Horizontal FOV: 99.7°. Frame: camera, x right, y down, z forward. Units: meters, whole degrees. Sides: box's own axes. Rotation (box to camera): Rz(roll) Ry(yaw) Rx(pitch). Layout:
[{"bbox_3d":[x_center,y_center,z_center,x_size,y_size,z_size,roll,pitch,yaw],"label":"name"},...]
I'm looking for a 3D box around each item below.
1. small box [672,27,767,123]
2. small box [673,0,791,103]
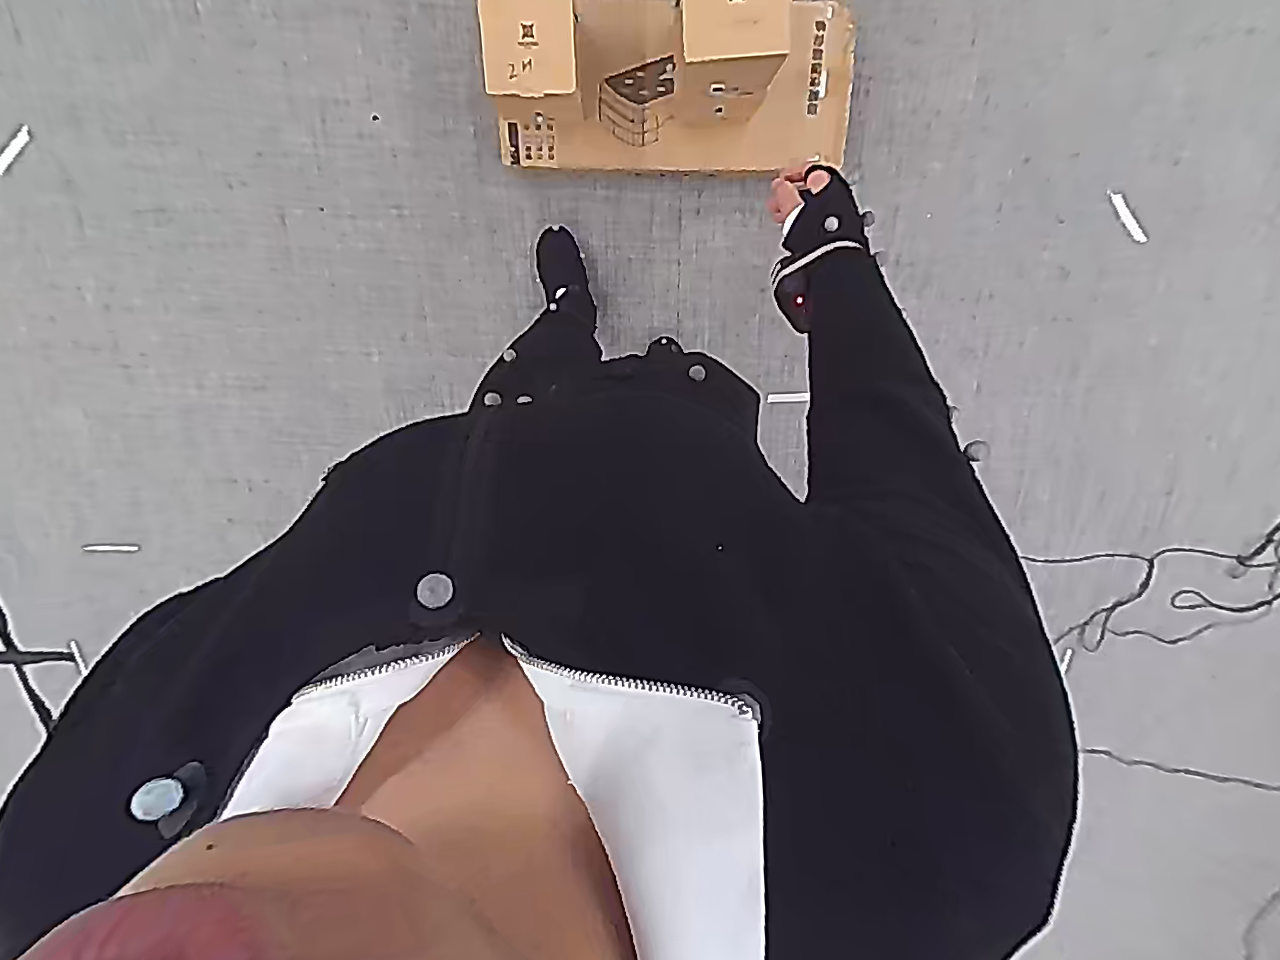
[{"bbox_3d":[0.150,-0.805,1.039,0.168,0.176,0.179,-2,110,0],"label":"small box"},{"bbox_3d":[0.144,-0.752,0.884,0.168,0.176,0.179,-5,110,1],"label":"small box"}]
